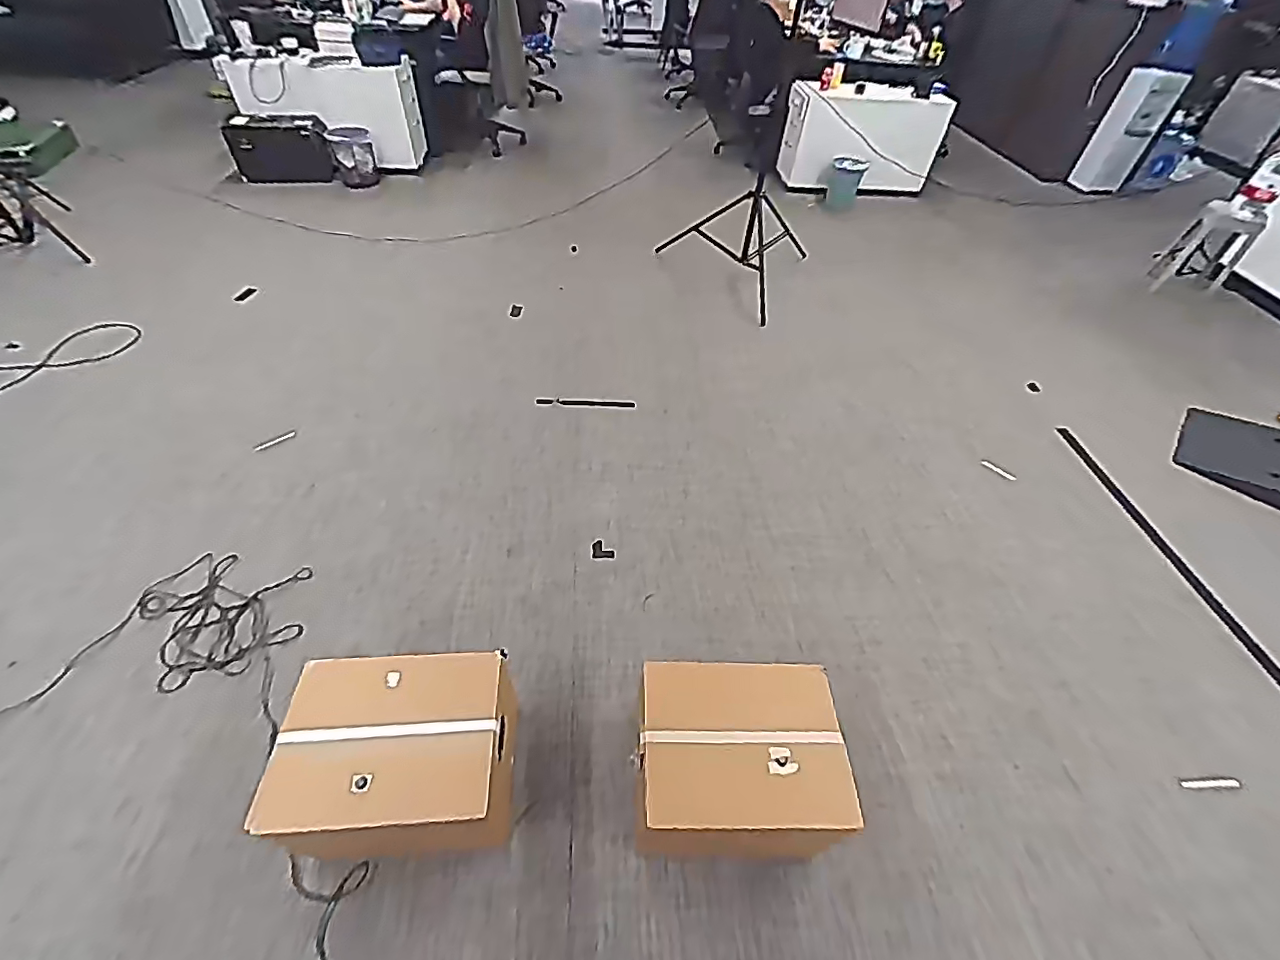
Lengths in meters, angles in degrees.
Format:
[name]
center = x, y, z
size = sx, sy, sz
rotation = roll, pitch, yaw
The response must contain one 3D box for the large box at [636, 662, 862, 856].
[large box]
center = 0.202, 0.620, 1.199
size = 0.408, 0.320, 0.320
rotation = 3, 47, -4
